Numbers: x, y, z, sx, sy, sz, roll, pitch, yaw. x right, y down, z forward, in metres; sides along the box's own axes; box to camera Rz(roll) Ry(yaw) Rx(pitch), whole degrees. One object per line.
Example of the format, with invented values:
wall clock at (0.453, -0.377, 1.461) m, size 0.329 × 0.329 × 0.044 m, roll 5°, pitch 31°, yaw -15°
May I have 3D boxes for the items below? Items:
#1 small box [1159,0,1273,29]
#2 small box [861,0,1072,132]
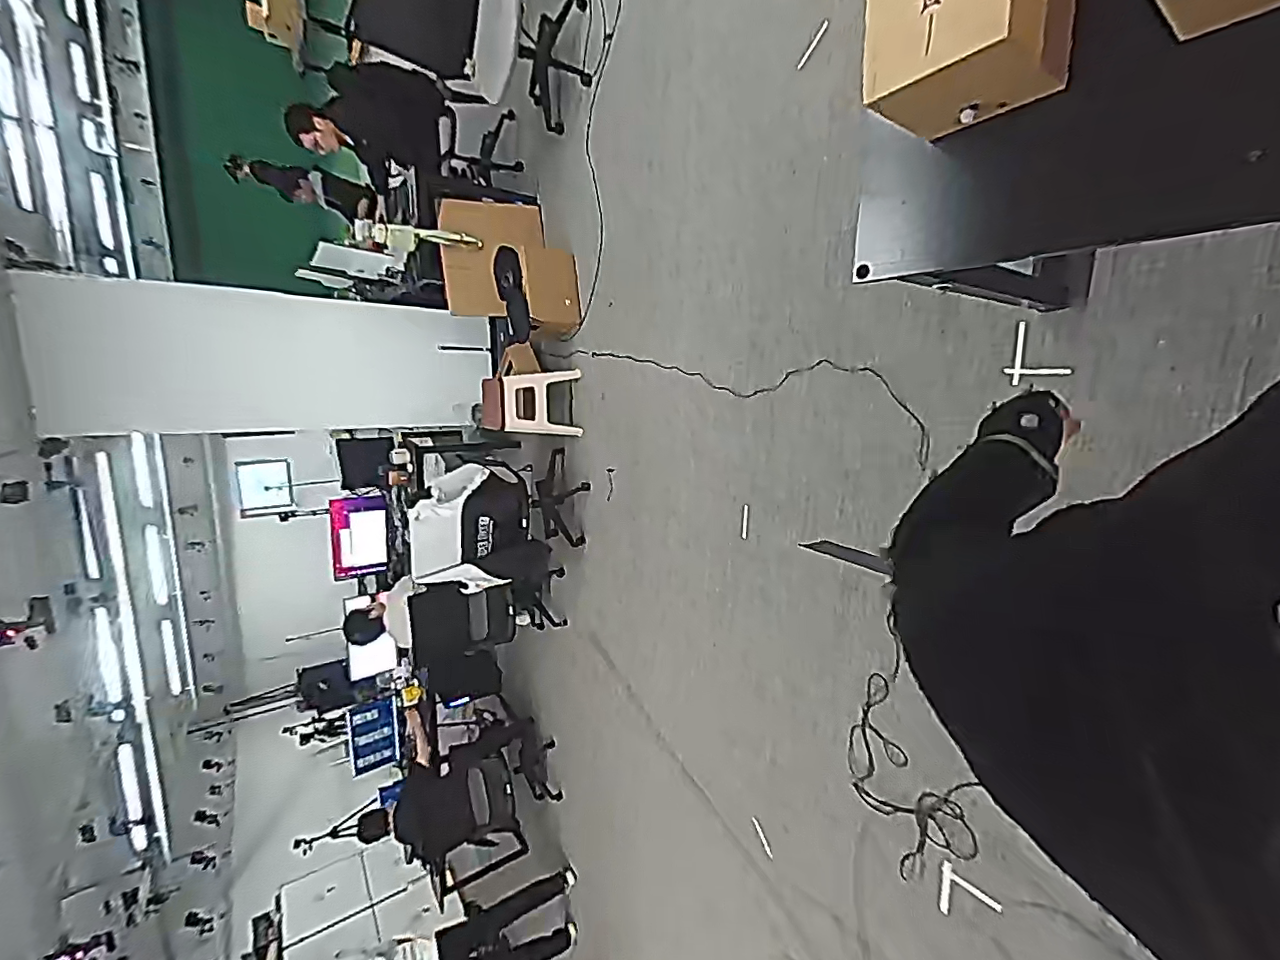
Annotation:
small box at (0.545, -0.519, 0.432) m, size 0.179 × 0.176 × 0.168 m, roll 15°, pitch 108°, yaw 54°
small box at (0.391, -0.558, 0.648) m, size 0.168 × 0.176 × 0.179 m, roll 12°, pitch 106°, yaw 54°
